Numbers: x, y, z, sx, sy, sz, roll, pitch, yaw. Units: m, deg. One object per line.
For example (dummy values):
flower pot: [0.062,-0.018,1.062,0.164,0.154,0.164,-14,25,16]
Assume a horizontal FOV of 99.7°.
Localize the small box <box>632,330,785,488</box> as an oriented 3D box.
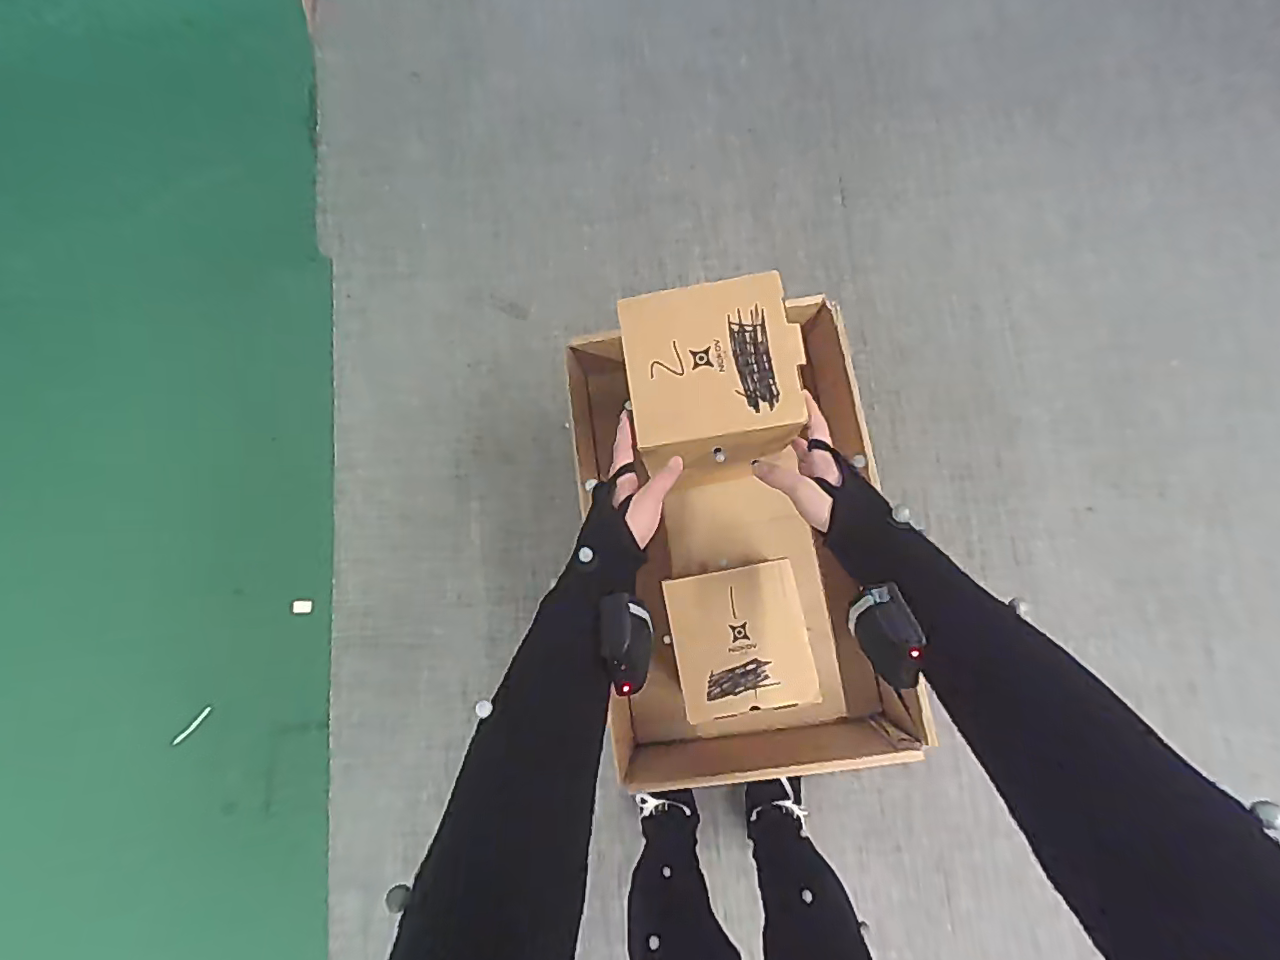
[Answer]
small box: [0.095,-0.092,0.790,0.179,0.176,0.168,-12,80,3]
